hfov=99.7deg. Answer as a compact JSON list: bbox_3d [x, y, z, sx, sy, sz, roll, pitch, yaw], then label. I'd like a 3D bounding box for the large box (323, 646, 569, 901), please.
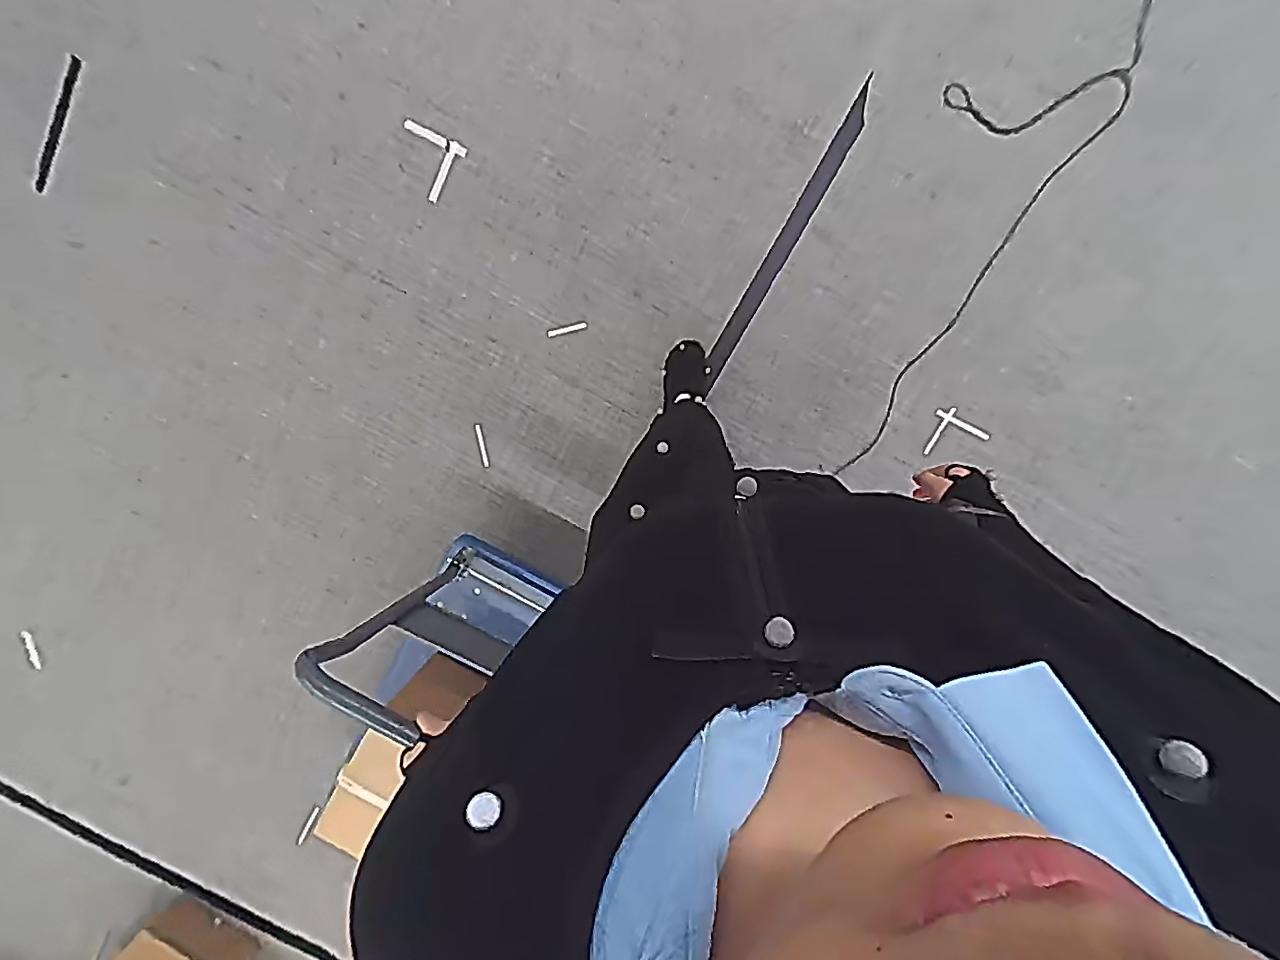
[{"bbox_3d":[-0.433,0.671,1.293,0.408,0.320,0.320,30,99,-2],"label":"large box"}]
